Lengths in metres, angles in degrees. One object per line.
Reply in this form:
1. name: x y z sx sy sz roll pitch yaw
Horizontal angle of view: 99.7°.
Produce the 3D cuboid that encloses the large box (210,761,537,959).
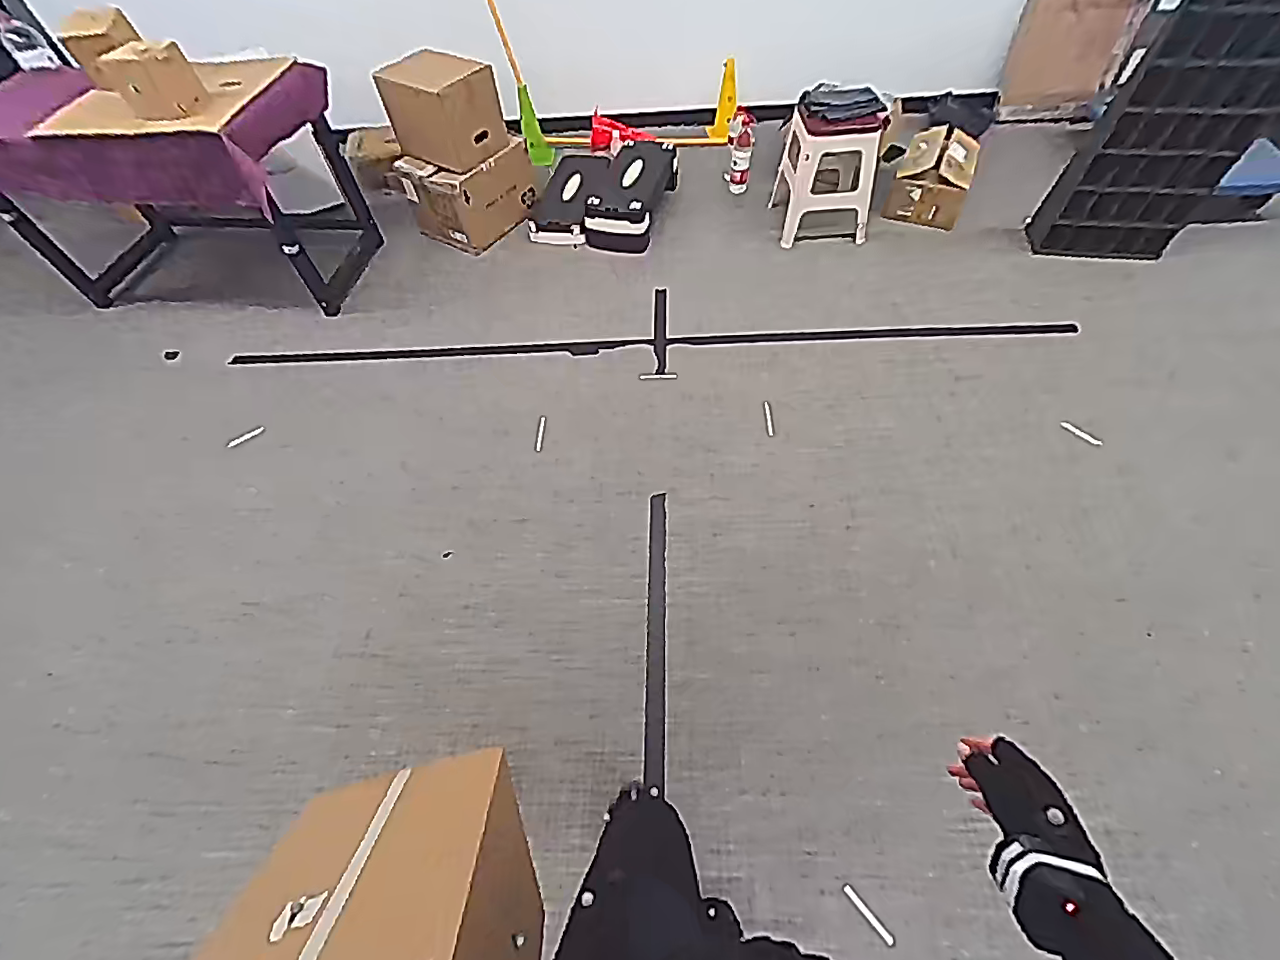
1. large box: -0.328 0.664 0.720 0.320 0.408 0.320 -13 95 -5
